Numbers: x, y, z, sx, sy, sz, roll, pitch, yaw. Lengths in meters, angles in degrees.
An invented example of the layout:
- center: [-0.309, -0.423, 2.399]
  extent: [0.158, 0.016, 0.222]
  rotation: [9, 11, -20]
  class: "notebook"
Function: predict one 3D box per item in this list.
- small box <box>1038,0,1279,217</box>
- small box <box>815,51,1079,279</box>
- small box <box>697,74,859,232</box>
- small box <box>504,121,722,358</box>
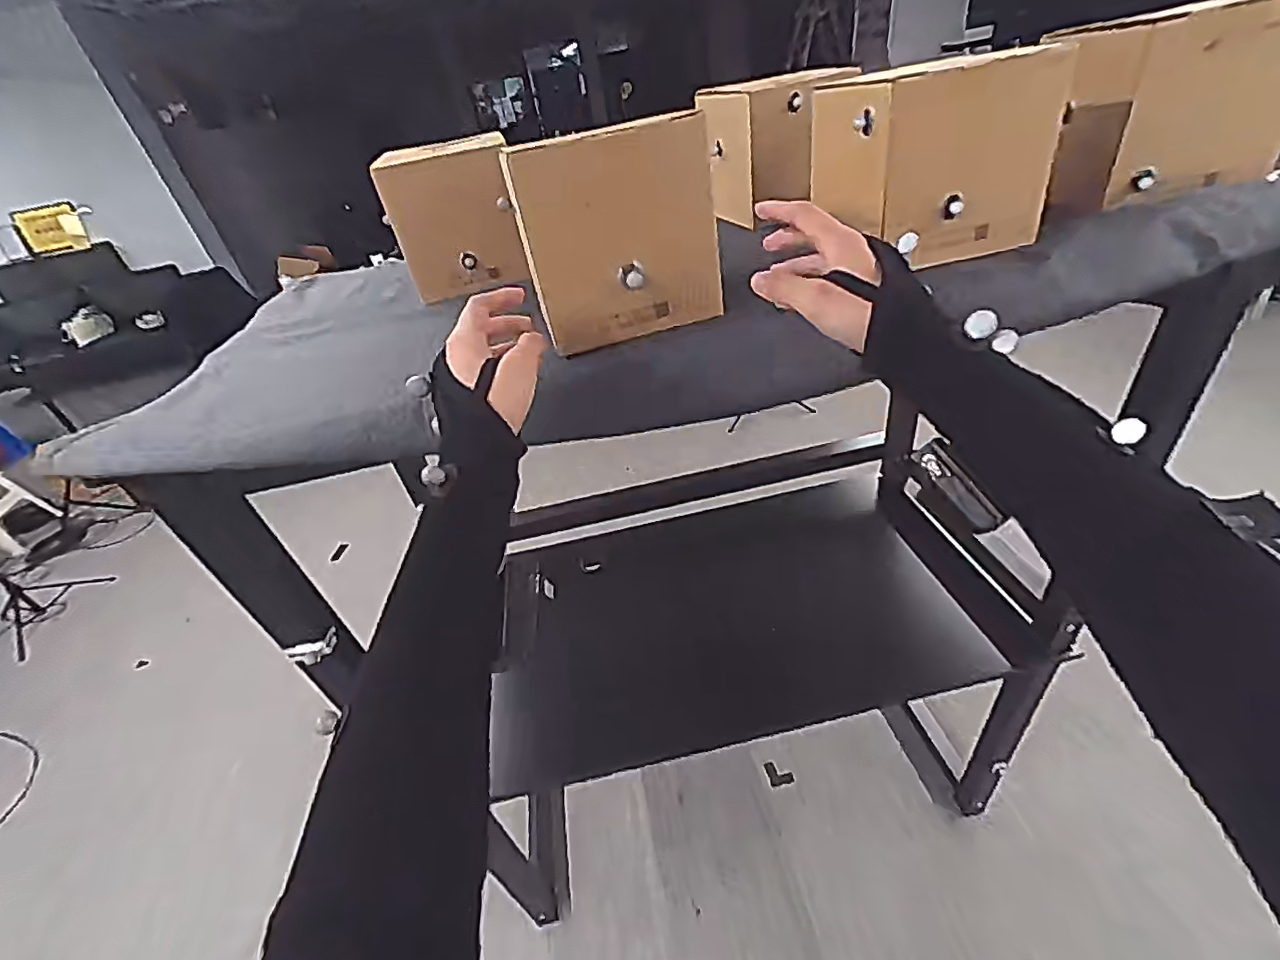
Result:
- center: [0.559, -0.402, 0.598]
  extent: [0.168, 0.176, 0.179]
  rotation: [-8, 34, 5]
  class: "small box"
- center: [0.294, -0.325, 0.570]
  extent: [0.168, 0.176, 0.179]
  rotation: [-13, 35, -2]
  class: "small box"
- center: [0.197, -0.483, 0.807]
  extent: [0.168, 0.176, 0.179]
  rotation: [-19, 37, -10]
  class: "small box"
- center: [-0.029, -0.238, 0.534]
  extent: [0.168, 0.176, 0.179]
  rotation: [-17, 34, -6]
  class: "small box"
